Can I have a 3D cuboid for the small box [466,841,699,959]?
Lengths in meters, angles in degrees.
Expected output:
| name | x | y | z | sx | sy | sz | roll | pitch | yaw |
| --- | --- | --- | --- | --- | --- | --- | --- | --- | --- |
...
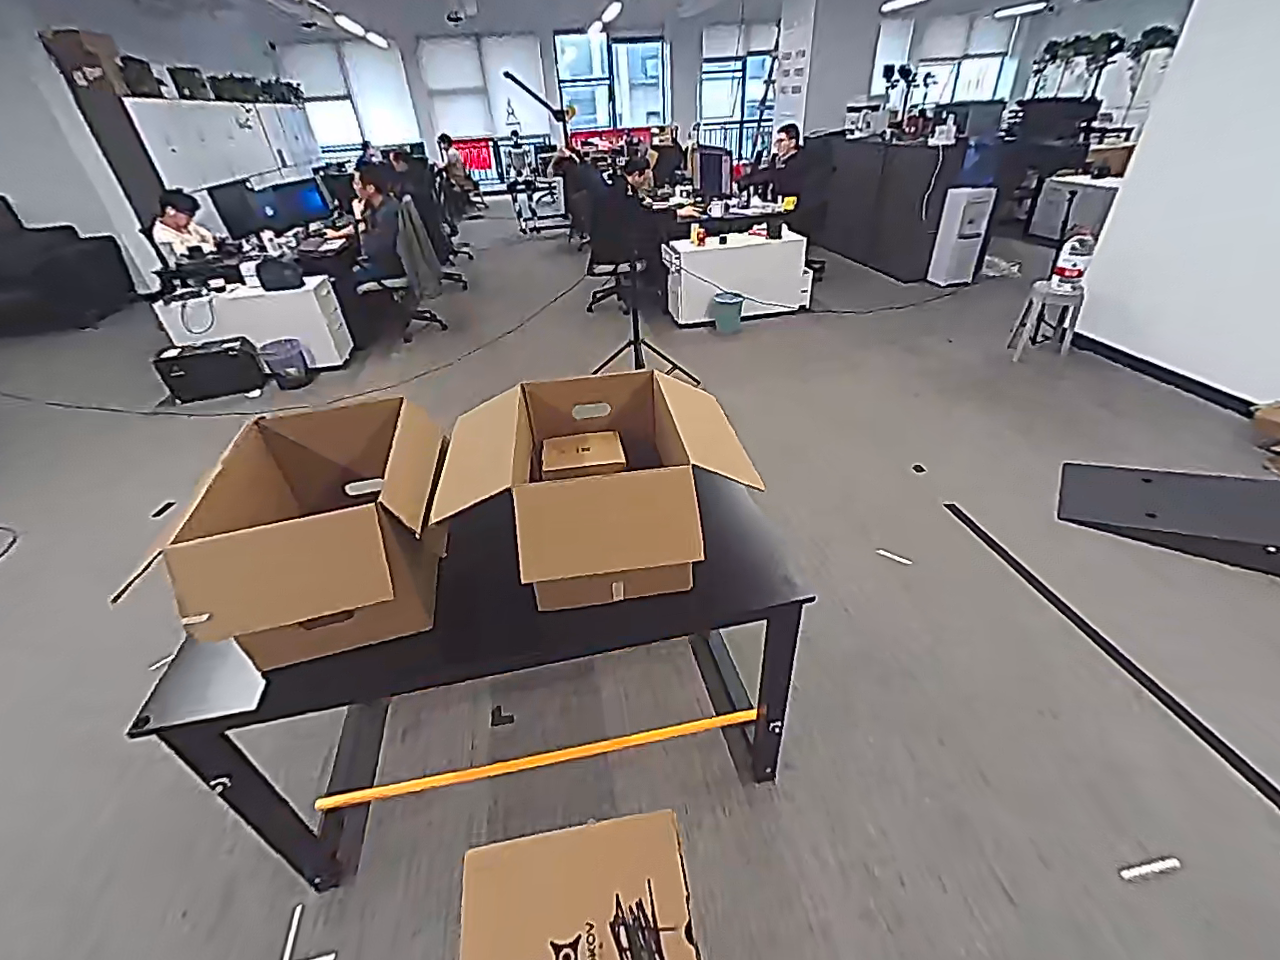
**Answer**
| name | x | y | z | sx | sy | sz | roll | pitch | yaw |
| --- | --- | --- | --- | --- | --- | --- | --- | --- | --- |
| small box | -0.037 | 0.425 | 0.450 | 0.179 | 0.176 | 0.168 | -9 | 46 | -3 |
